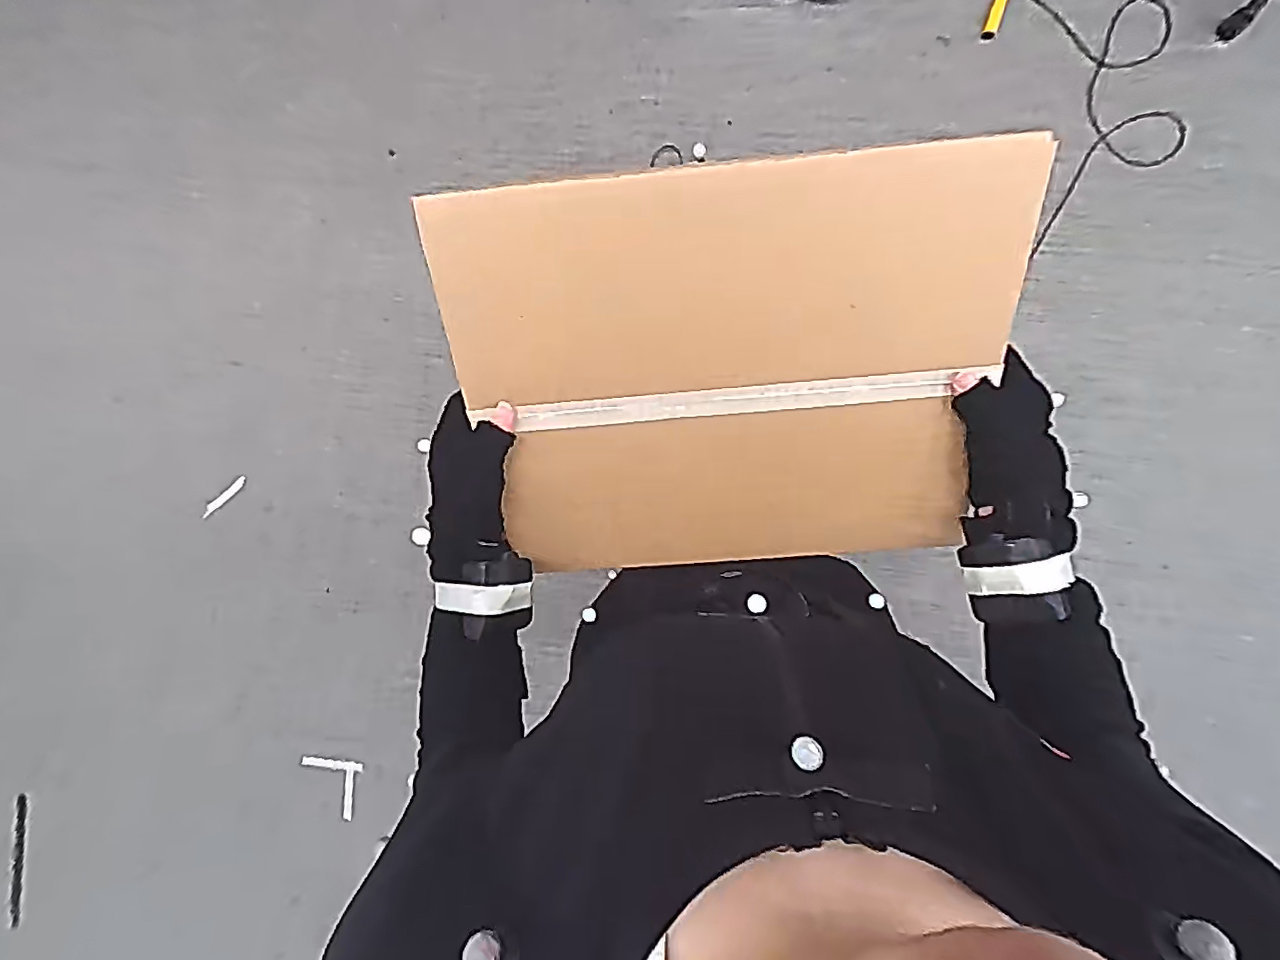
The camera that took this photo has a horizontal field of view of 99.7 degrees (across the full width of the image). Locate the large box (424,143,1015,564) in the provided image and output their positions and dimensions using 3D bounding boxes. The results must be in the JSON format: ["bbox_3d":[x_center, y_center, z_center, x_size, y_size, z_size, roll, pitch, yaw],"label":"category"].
[{"bbox_3d":[0.064,-0.142,0.561,0.408,0.320,0.320,-4,120,3],"label":"large box"}]
